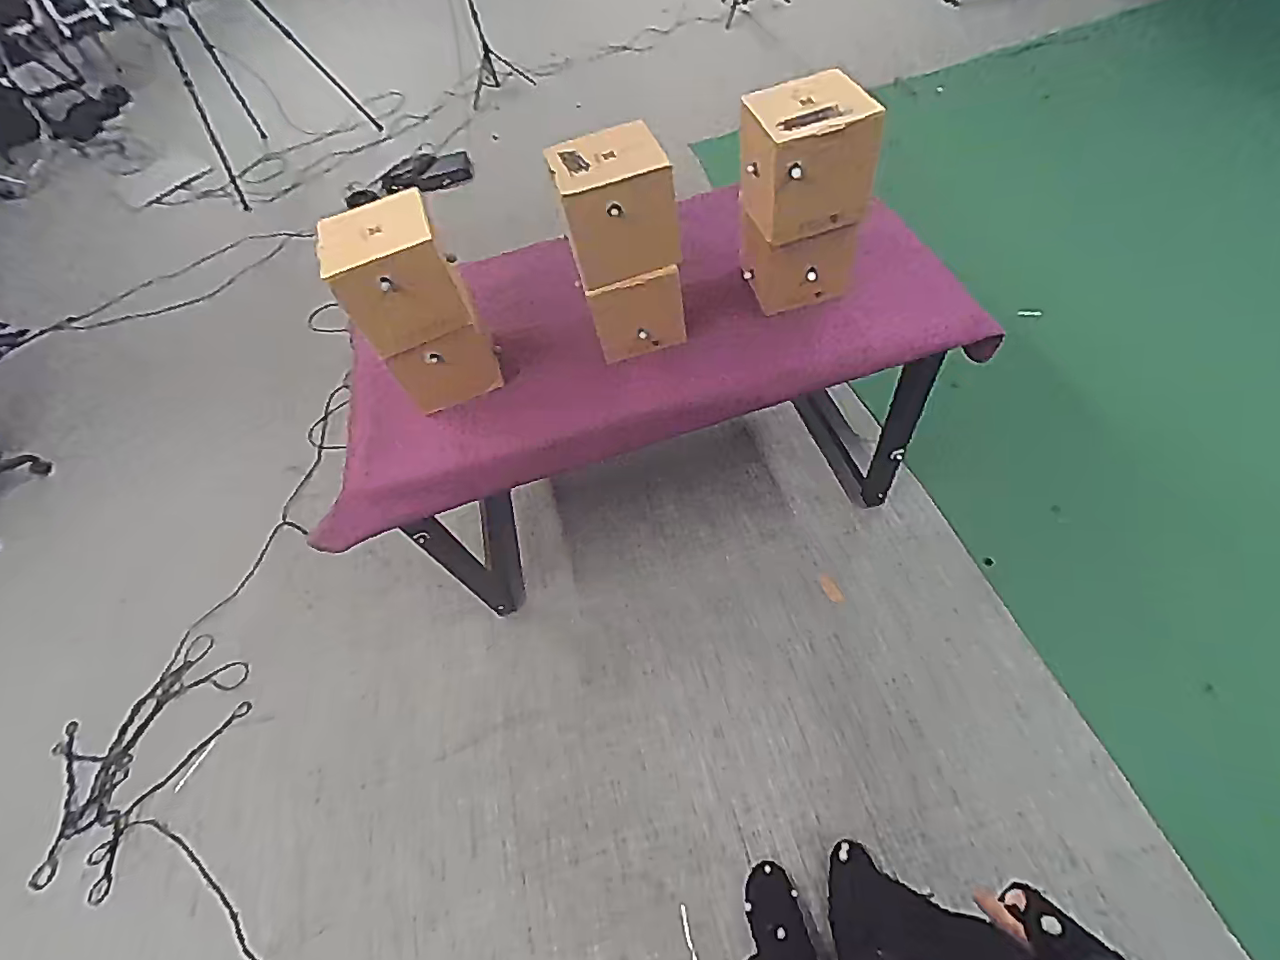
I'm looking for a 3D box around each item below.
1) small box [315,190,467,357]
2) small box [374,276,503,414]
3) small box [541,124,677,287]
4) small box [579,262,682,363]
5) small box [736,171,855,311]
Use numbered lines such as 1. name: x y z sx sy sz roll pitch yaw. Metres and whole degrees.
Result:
1. small box: -0.407 -0.340 0.906 0.179 0.176 0.168 -23 57 -4
2. small box: -0.388 -0.255 1.043 0.179 0.176 0.168 -21 57 -3
3. small box: -0.048 -0.454 0.908 0.179 0.176 0.168 -18 55 -2
4. small box: -0.024 -0.357 1.038 0.168 0.176 0.179 -16 56 1
5. small box: 0.290 -0.448 1.037 0.168 0.176 0.179 -14 56 2
